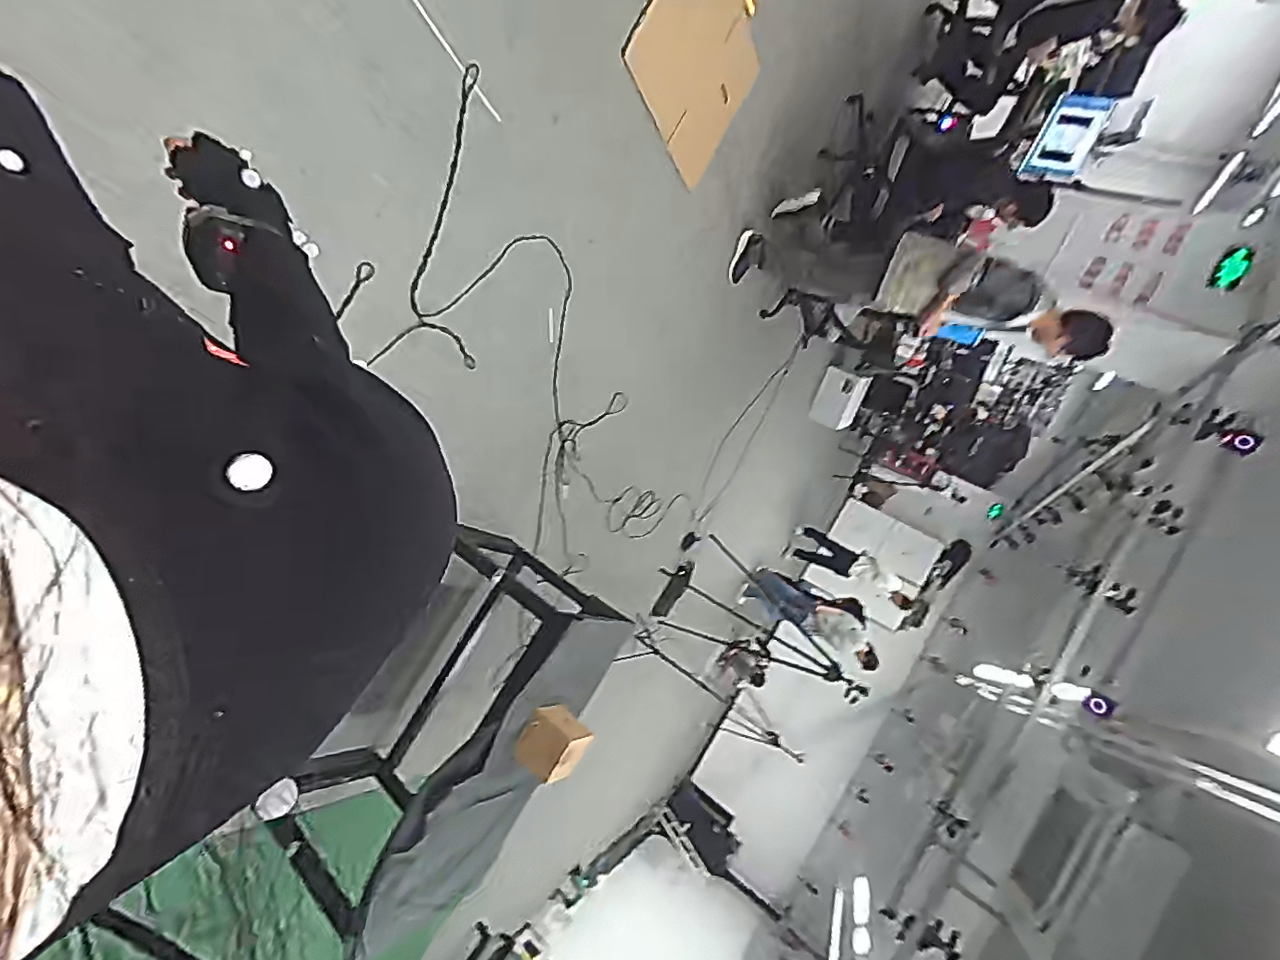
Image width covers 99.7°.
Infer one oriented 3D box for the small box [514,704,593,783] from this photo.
[{"bbox_3d":[-0.296,0.891,1.843,0.168,0.176,0.179,-58,154,-4],"label":"small box"}]
